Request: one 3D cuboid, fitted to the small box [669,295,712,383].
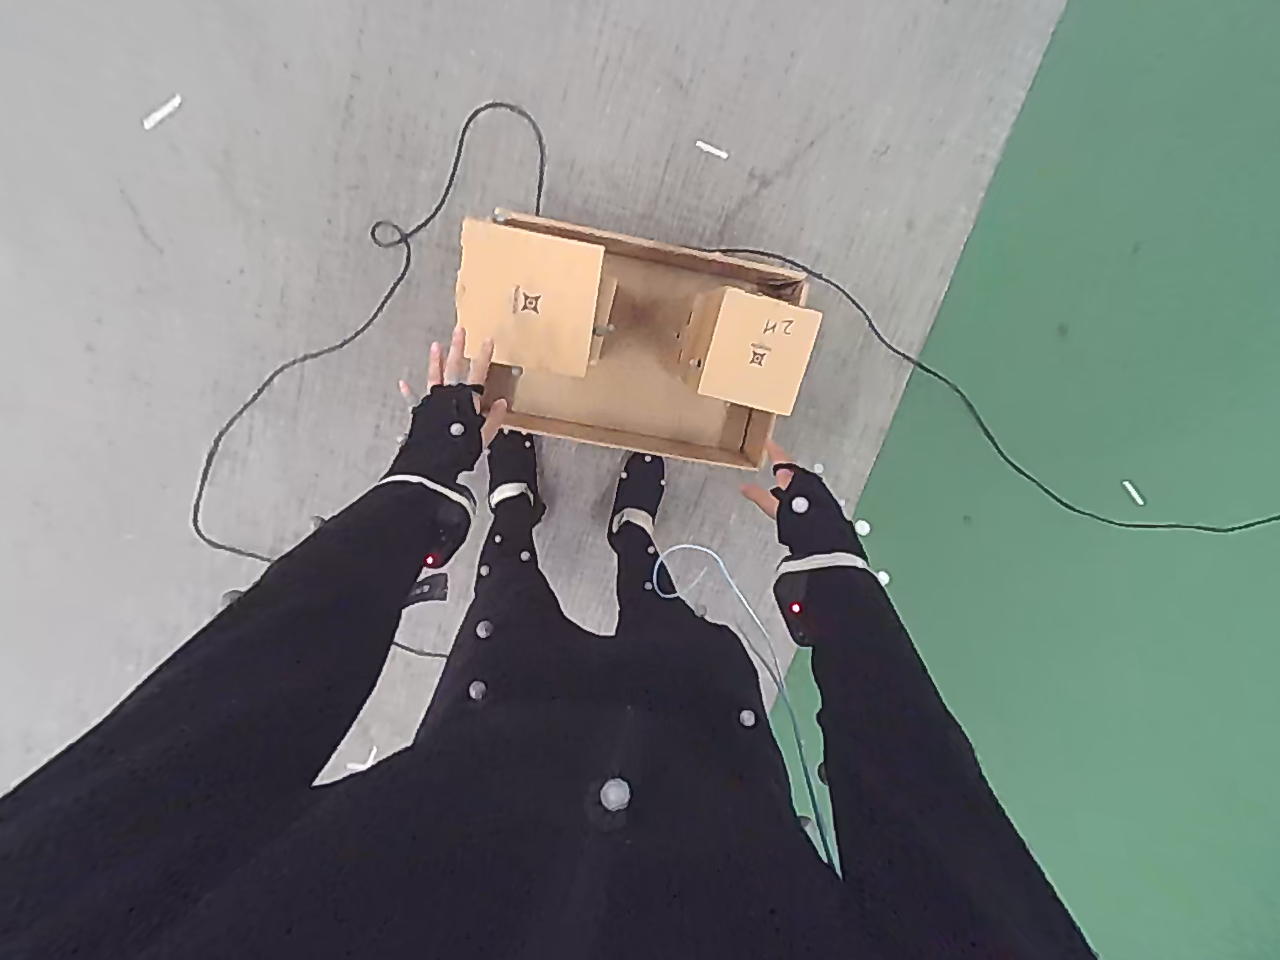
[{"bbox_3d":[0.165,-0.267,1.109,0.179,0.176,0.168,15,104,-7],"label":"small box"}]

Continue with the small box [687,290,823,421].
[{"bbox_3d":[0.189,-0.219,0.952,0.168,0.176,0.179,14,103,-8],"label":"small box"}]

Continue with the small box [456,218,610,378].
[{"bbox_3d":[-0.140,-0.249,0.757,0.179,0.176,0.168,10,106,-5],"label":"small box"}]
